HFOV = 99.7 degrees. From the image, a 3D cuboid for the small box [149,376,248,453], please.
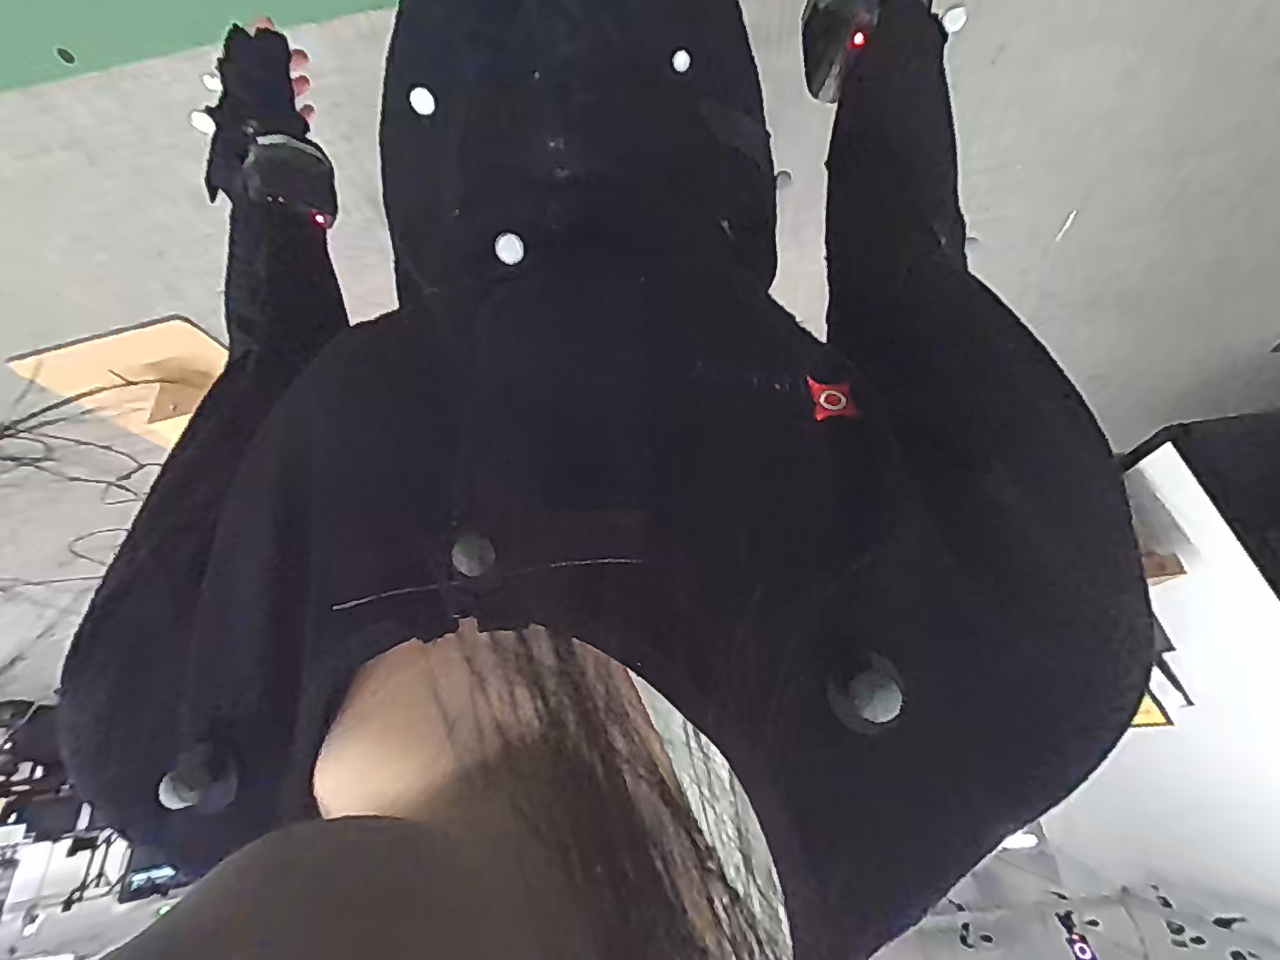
[{"bbox_3d":[-1.438,-0.214,1.776,0.179,0.176,0.168,-13,152,7],"label":"small box"}]
